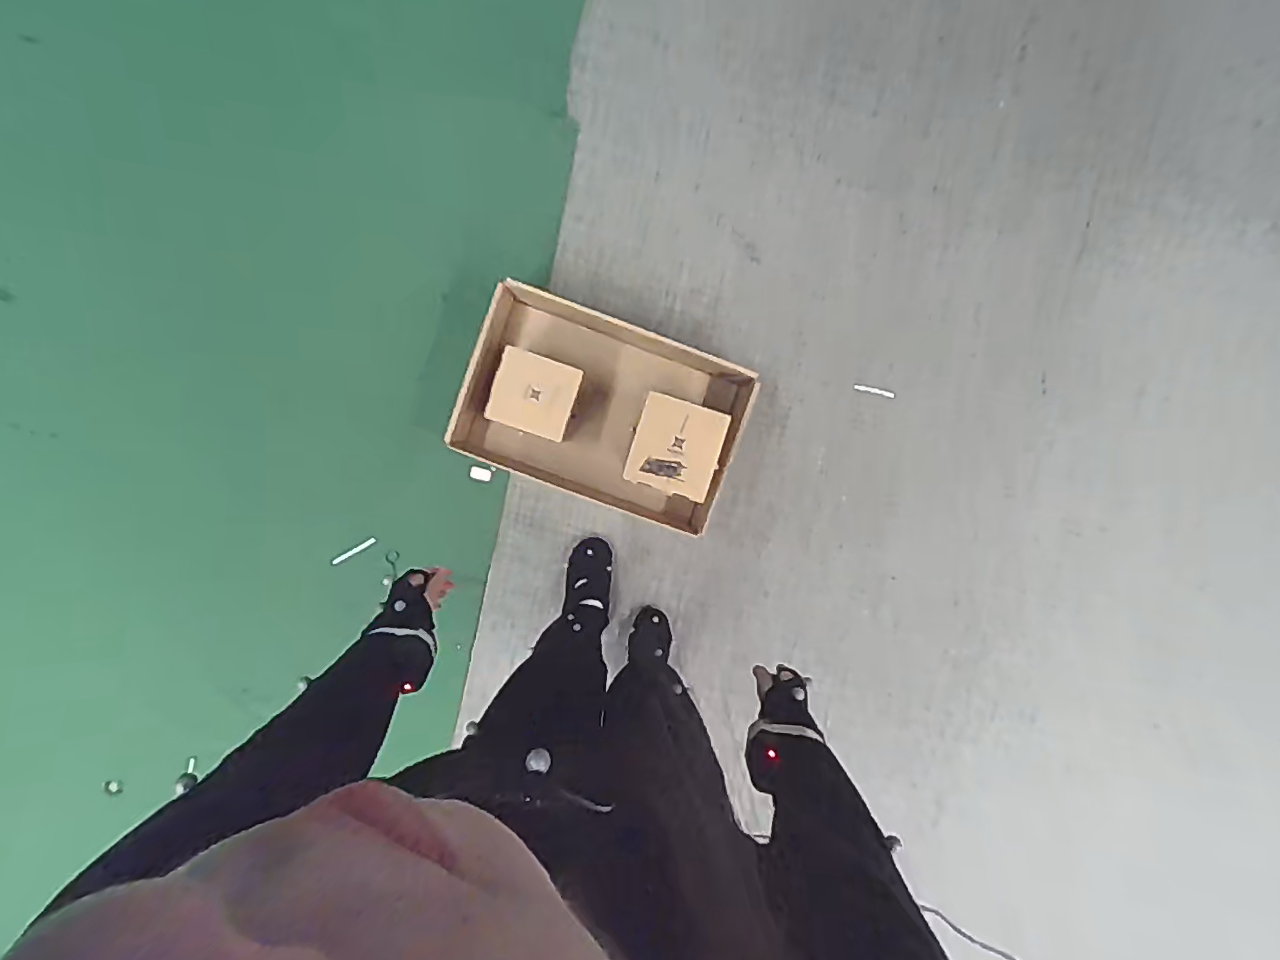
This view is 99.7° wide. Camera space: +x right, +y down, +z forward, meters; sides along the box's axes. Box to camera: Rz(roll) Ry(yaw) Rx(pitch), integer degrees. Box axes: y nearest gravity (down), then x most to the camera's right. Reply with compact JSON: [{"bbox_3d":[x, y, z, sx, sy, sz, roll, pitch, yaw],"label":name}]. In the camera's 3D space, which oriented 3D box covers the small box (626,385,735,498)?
[{"bbox_3d":[0.076,-0.077,1.095,0.168,0.176,0.179,18,93,-2],"label":"small box"}]
